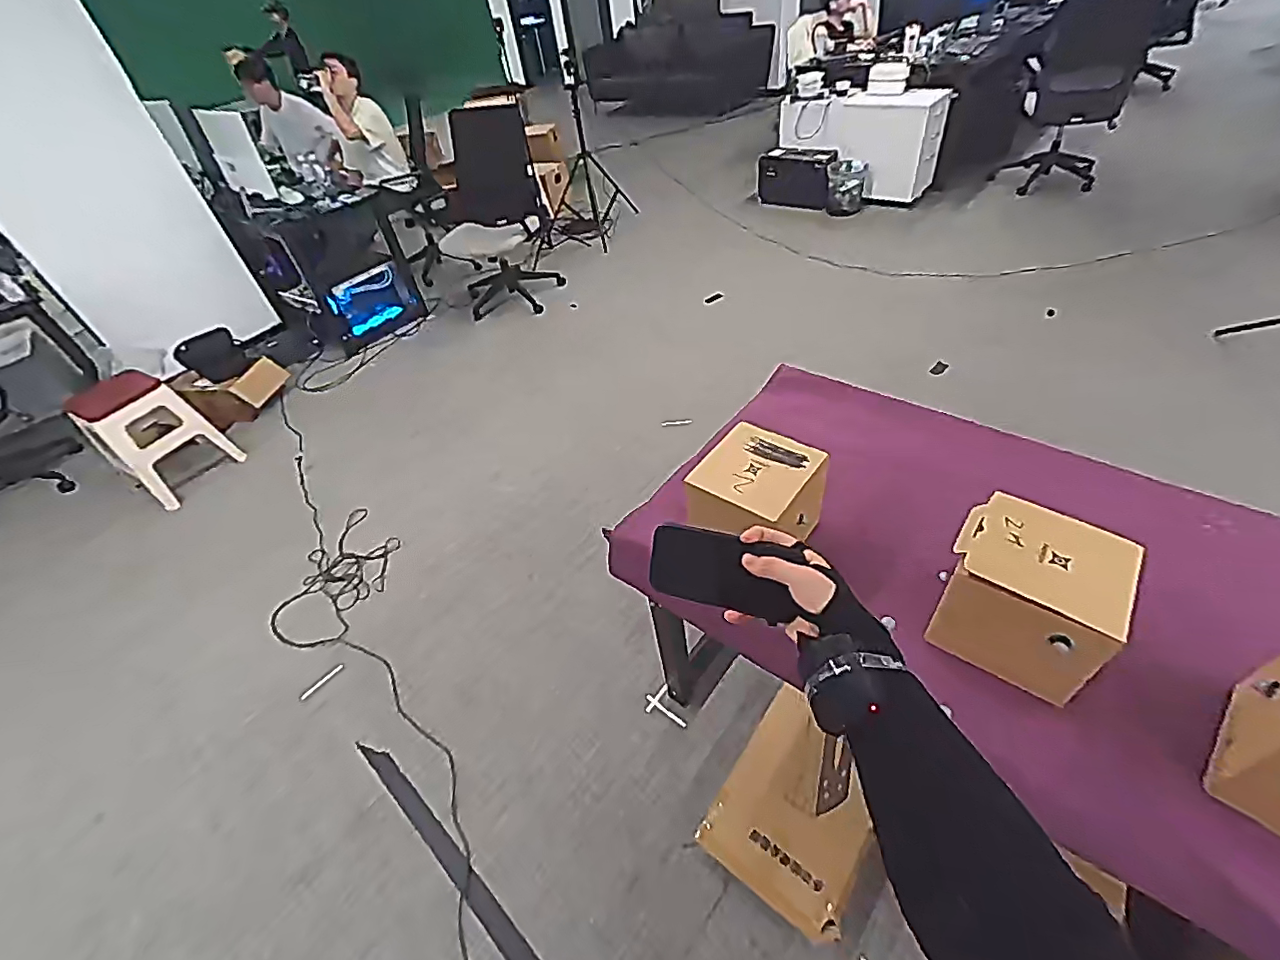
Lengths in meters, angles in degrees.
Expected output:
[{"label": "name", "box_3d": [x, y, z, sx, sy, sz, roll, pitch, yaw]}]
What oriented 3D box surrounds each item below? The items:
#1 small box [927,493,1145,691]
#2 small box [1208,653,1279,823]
[{"label": "small box", "box_3d": [0.522, 0.154, 0.730, 0.179, 0.176, 0.168, 25, 52, 31]}, {"label": "small box", "box_3d": [0.754, 0.284, 0.556, 0.168, 0.176, 0.179, -38, 51, -26]}]
